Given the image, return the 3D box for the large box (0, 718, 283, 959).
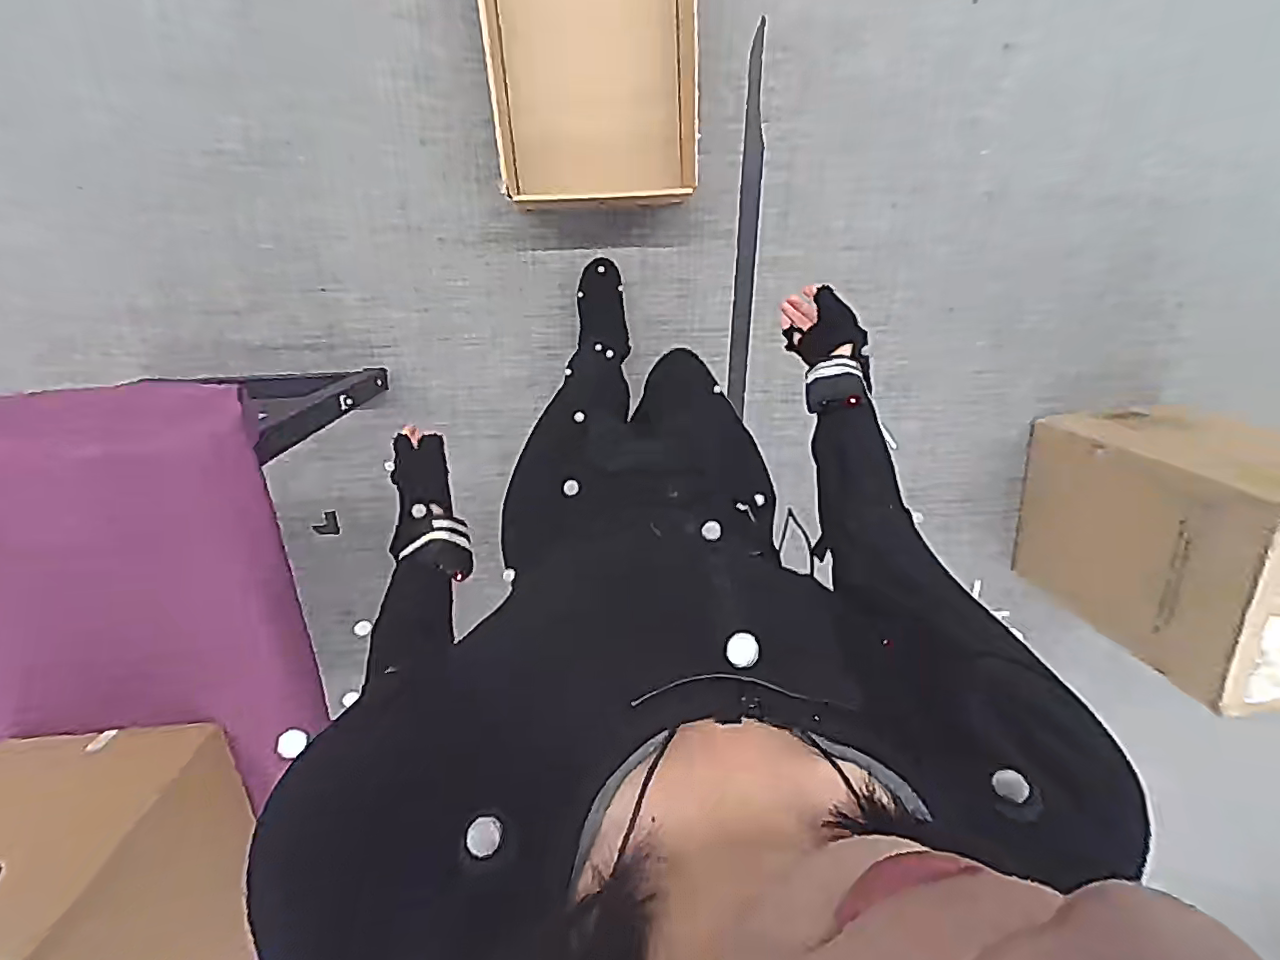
[{"bbox_3d":[-0.769,0.604,0.735,0.320,0.320,0.408,-4,110,-6],"label":"large box"}]
